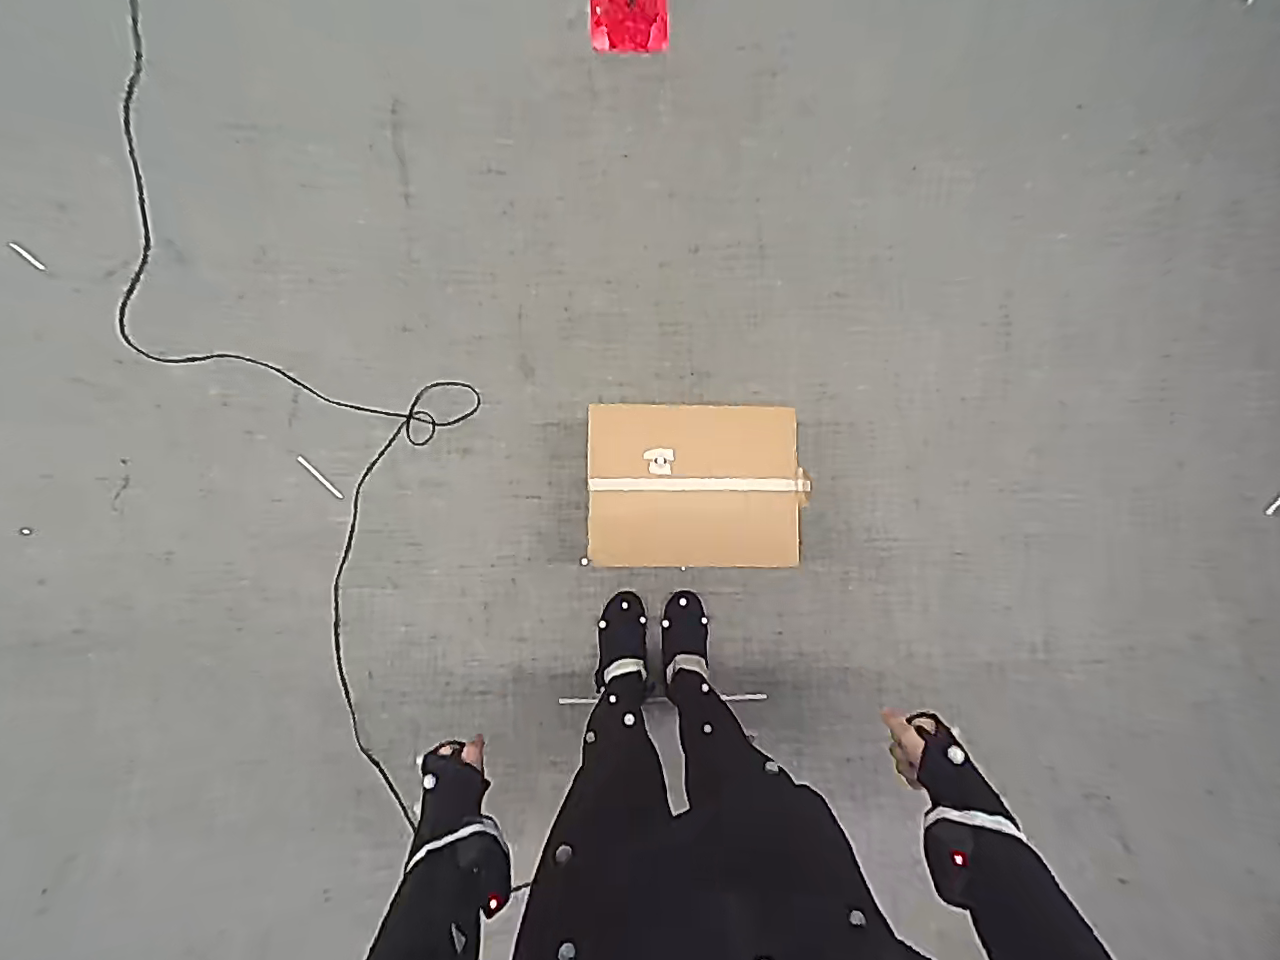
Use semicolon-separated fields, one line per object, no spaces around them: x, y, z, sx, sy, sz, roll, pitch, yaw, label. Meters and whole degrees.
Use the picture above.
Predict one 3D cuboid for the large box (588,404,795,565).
0.097;0.014;1.190;0.408;0.320;0.320;1;86;-2;large box
